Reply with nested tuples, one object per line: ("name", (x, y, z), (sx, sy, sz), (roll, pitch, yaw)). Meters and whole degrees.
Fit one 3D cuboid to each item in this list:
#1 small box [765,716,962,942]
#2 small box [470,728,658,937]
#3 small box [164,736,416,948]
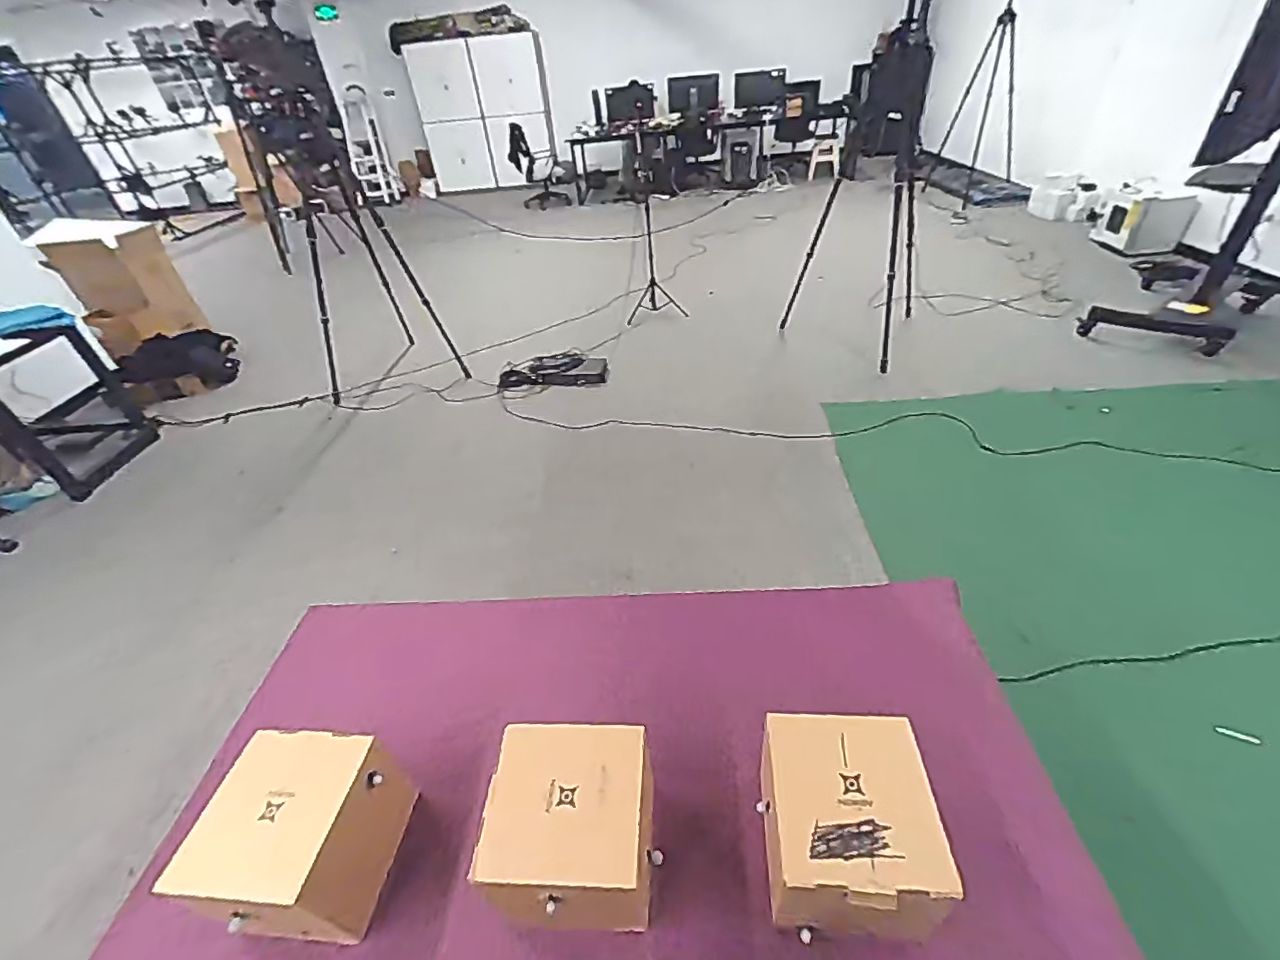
("small box", (0.236, 0.399, 0.623), (0.168, 0.176, 0.179), (-1, 37, 7))
("small box", (-0.075, 0.422, 0.650), (0.179, 0.176, 0.168), (-2, 38, 6))
("small box", (-0.407, 0.448, 0.672), (0.168, 0.176, 0.179), (-1, 37, 8))
